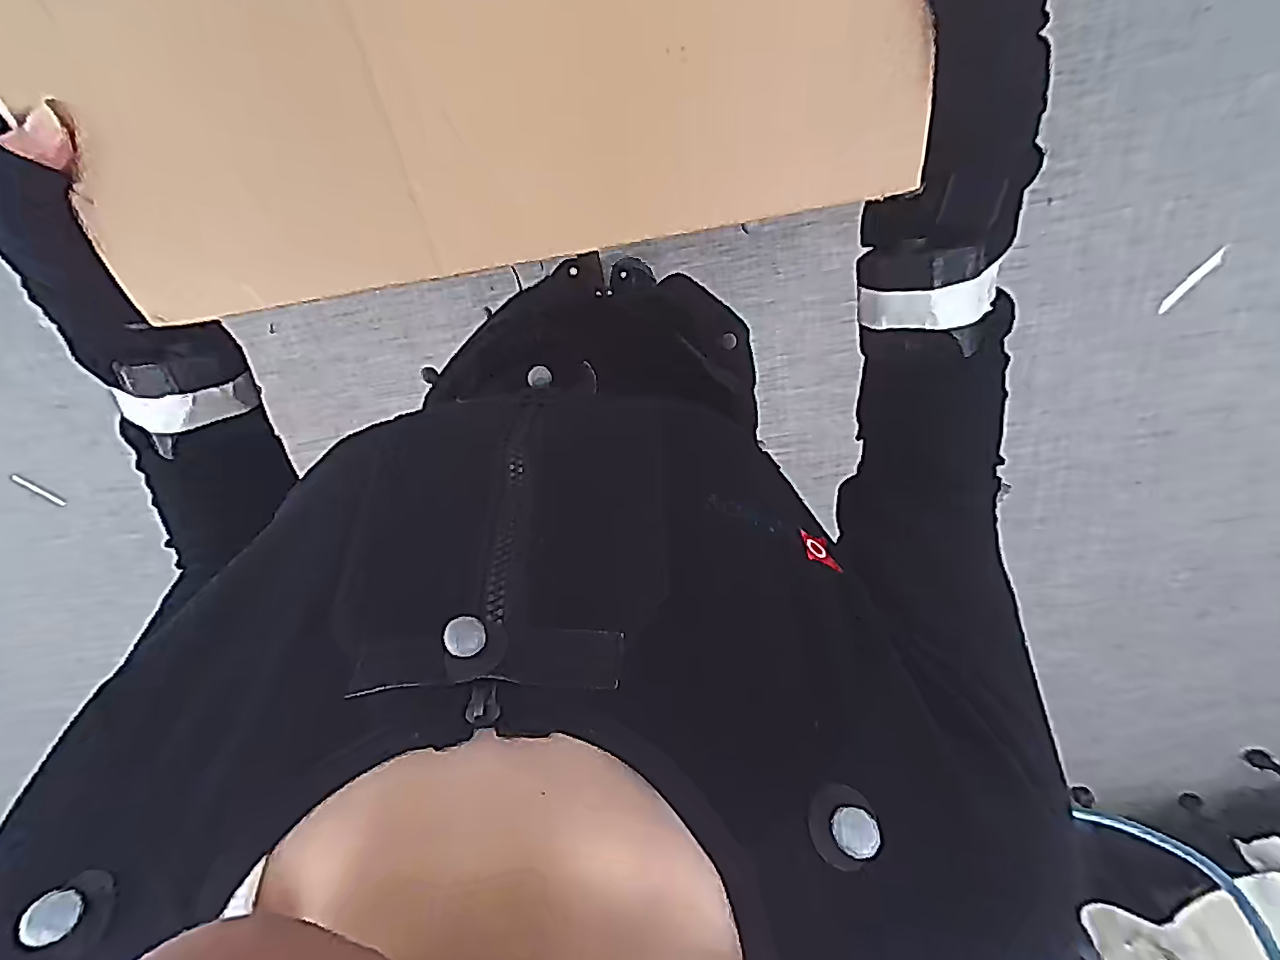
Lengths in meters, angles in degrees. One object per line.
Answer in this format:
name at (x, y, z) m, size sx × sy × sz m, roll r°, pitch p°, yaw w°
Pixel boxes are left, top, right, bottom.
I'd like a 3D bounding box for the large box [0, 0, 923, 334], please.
large box at (-0.089, -0.321, 0.324) m, size 0.408 × 0.320 × 0.320 m, roll -8°, pitch 124°, yaw 5°
